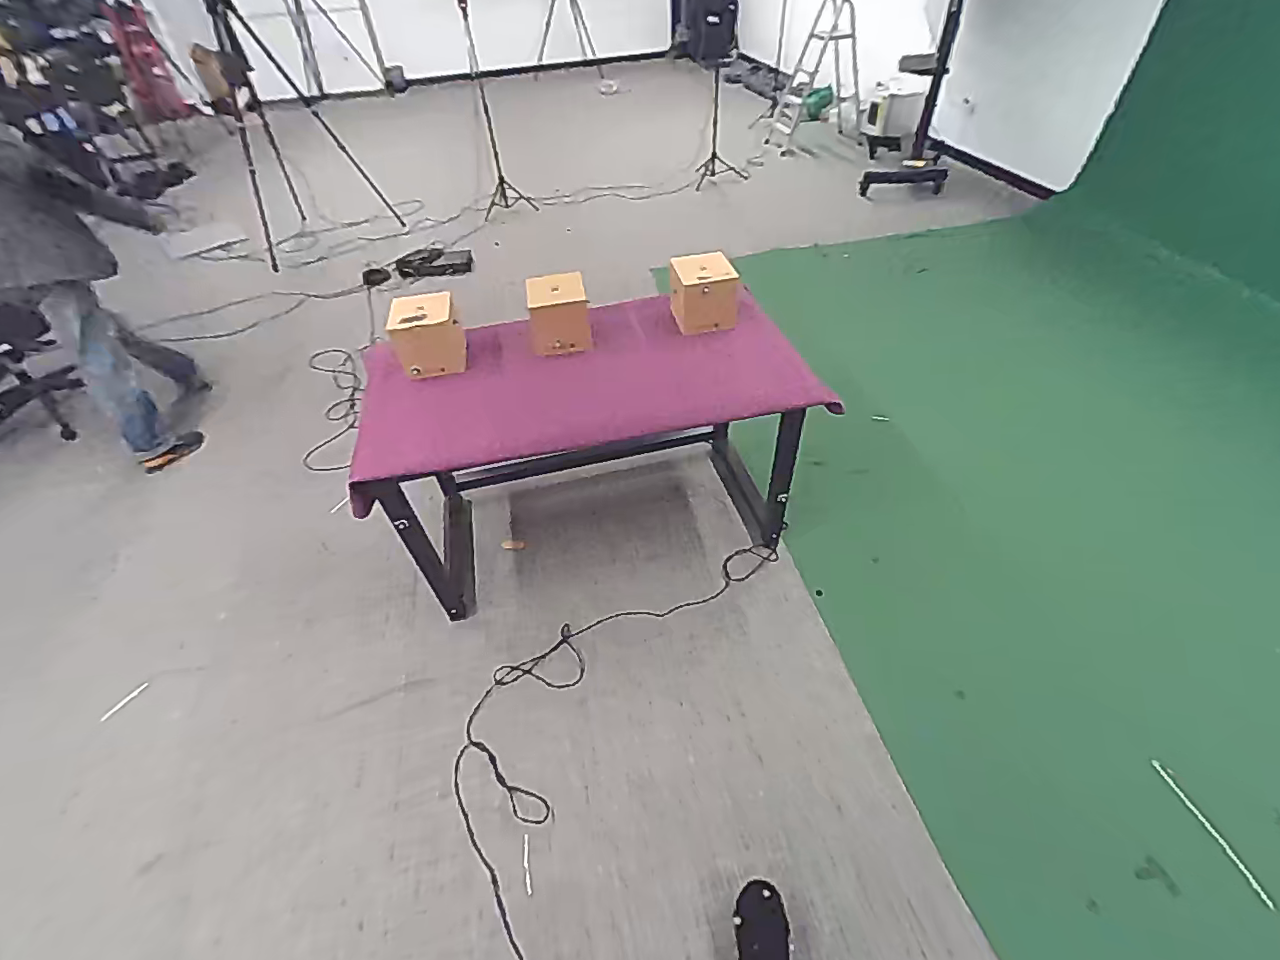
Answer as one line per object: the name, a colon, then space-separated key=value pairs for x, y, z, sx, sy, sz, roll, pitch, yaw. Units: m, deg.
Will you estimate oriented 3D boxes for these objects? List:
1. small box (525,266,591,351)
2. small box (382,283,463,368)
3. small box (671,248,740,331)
small box: x=-0.240 y=-0.503 z=1.586 sx=0.168 sy=0.176 sz=0.179 roll=-9 pitch=49 yaw=-5
small box: x=-0.607 y=-0.431 z=1.530 sx=0.168 sy=0.176 sz=0.179 roll=-9 pitch=48 yaw=-7
small box: x=0.189 y=-0.573 z=1.626 sx=0.168 sy=0.176 sz=0.179 roll=-10 pitch=48 yaw=-5
